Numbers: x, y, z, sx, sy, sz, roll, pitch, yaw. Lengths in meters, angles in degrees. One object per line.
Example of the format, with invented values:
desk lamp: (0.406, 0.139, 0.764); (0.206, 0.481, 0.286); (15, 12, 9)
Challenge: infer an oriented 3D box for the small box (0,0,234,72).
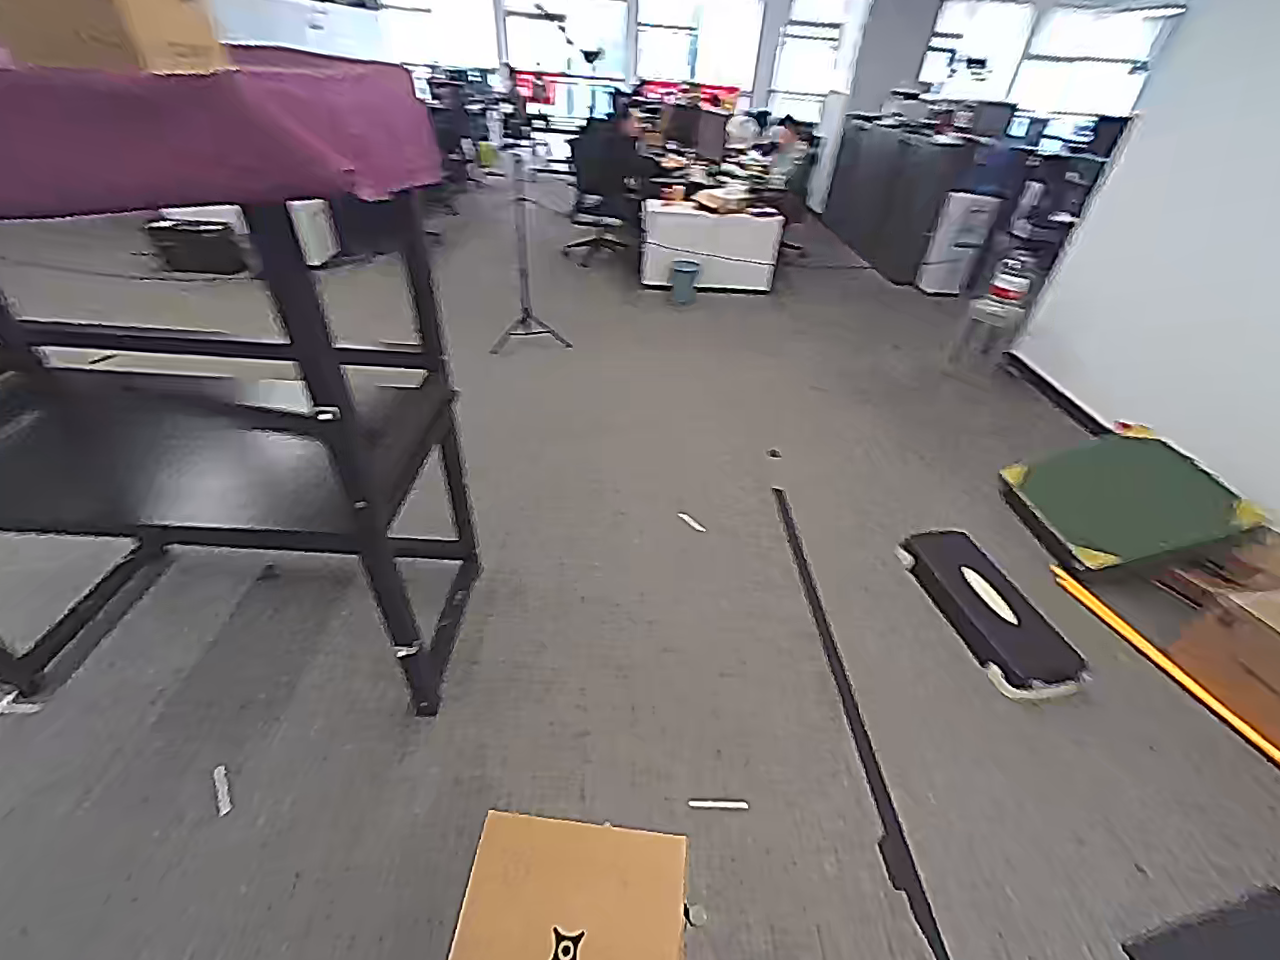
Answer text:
small box: (-0.669, -0.622, 0.679); (0.179, 0.176, 0.168); (4, 37, 1)

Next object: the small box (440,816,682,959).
small box: (-0.054, 0.389, 0.426); (0.168, 0.176, 0.179); (2, 49, 7)
